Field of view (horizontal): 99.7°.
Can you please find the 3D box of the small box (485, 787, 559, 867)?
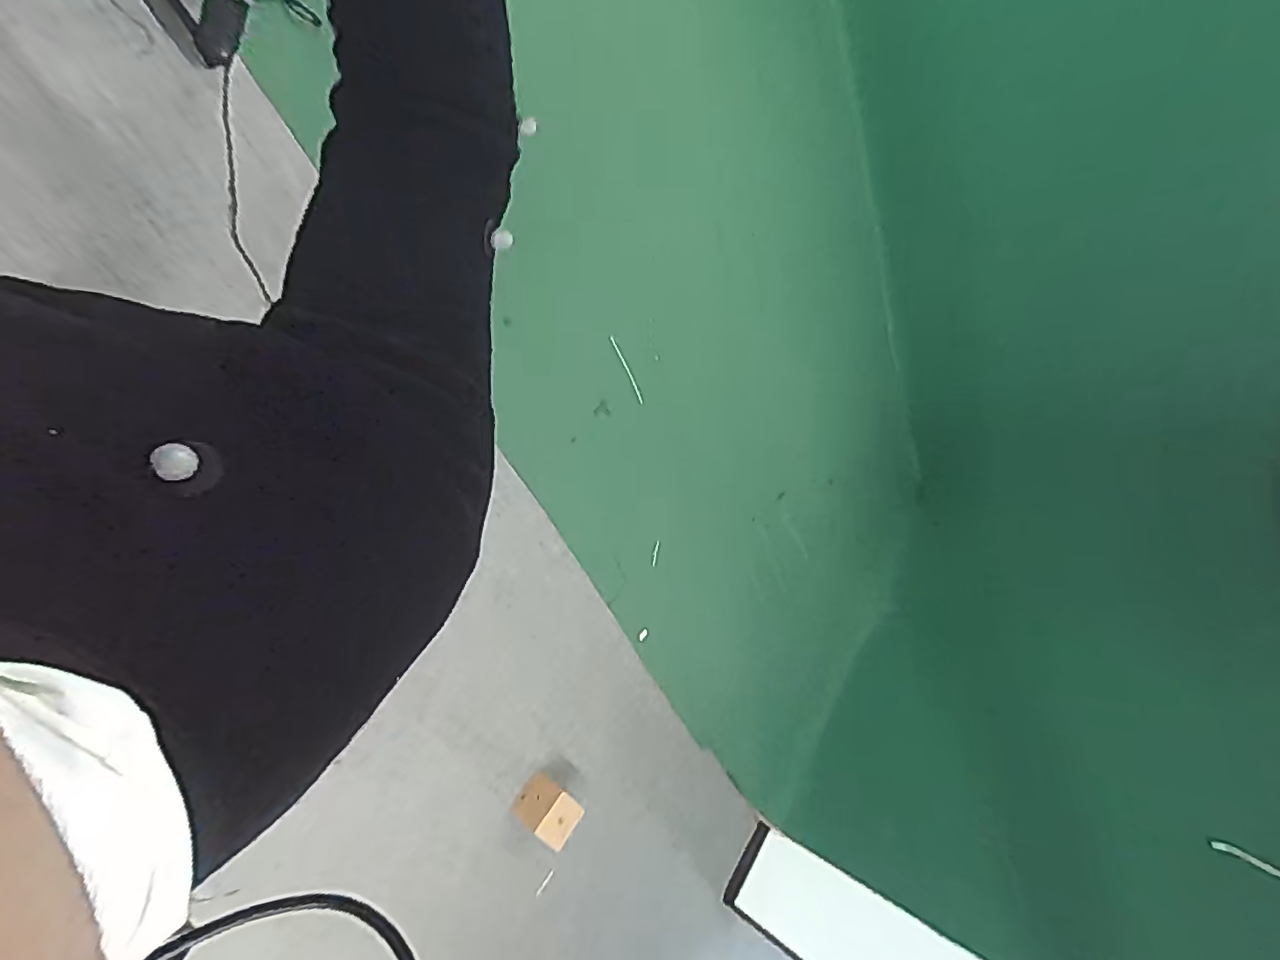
[{"bbox_3d":[-0.445,1.284,2.016,0.168,0.176,0.179,-47,127,-30],"label":"small box"}]
